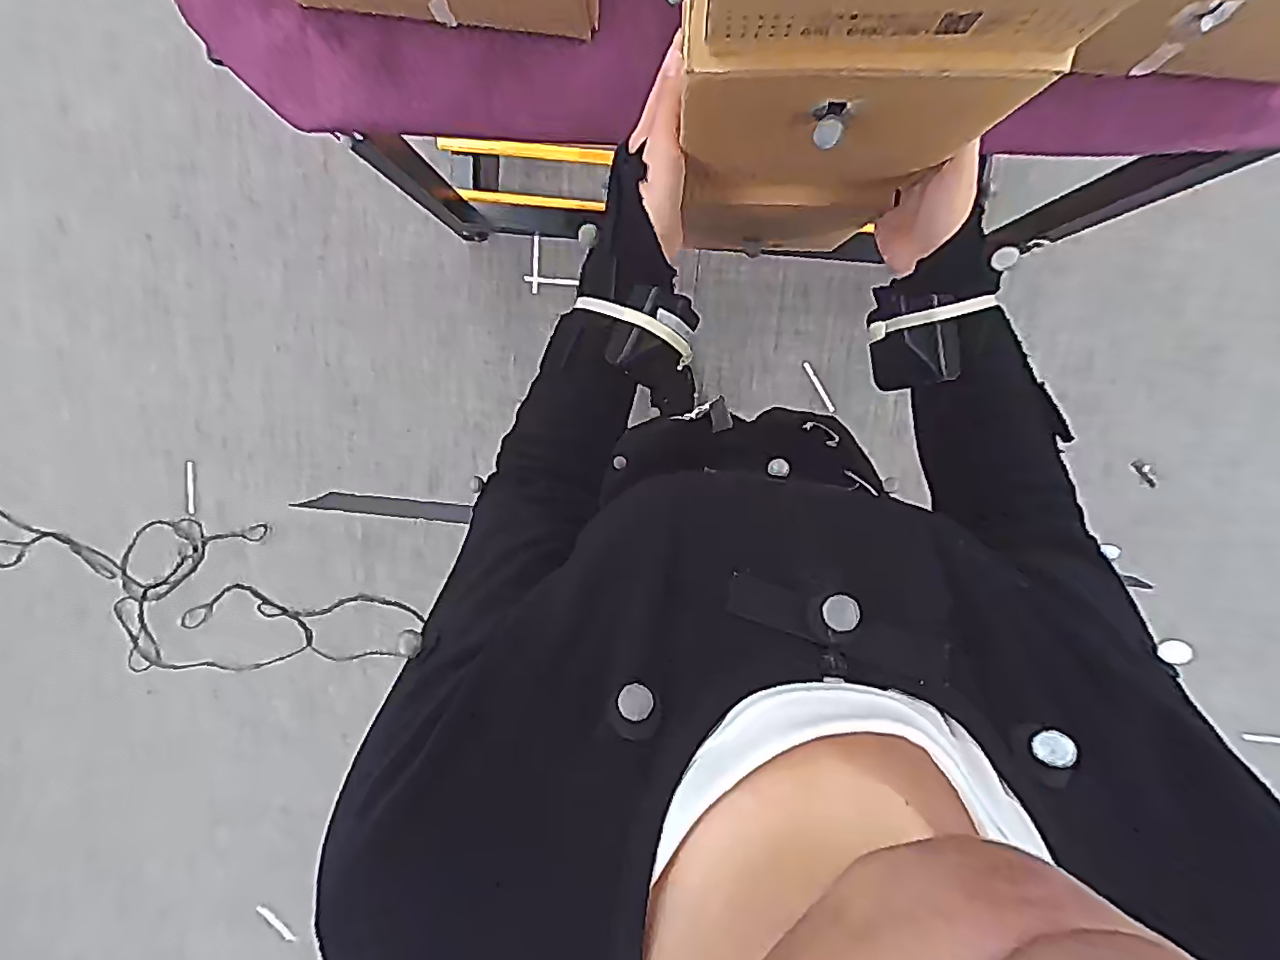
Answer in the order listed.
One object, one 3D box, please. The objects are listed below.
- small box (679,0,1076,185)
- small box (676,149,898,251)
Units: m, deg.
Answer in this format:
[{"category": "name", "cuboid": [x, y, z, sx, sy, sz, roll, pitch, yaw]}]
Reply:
[{"category": "small box", "cuboid": [0.114, -0.284, 0.310, 0.179, 0.176, 0.168, 2, 103, 4]}, {"category": "small box", "cuboid": [0.118, -0.311, 0.470, 0.168, 0.176, 0.179, 3, 103, 3]}]
